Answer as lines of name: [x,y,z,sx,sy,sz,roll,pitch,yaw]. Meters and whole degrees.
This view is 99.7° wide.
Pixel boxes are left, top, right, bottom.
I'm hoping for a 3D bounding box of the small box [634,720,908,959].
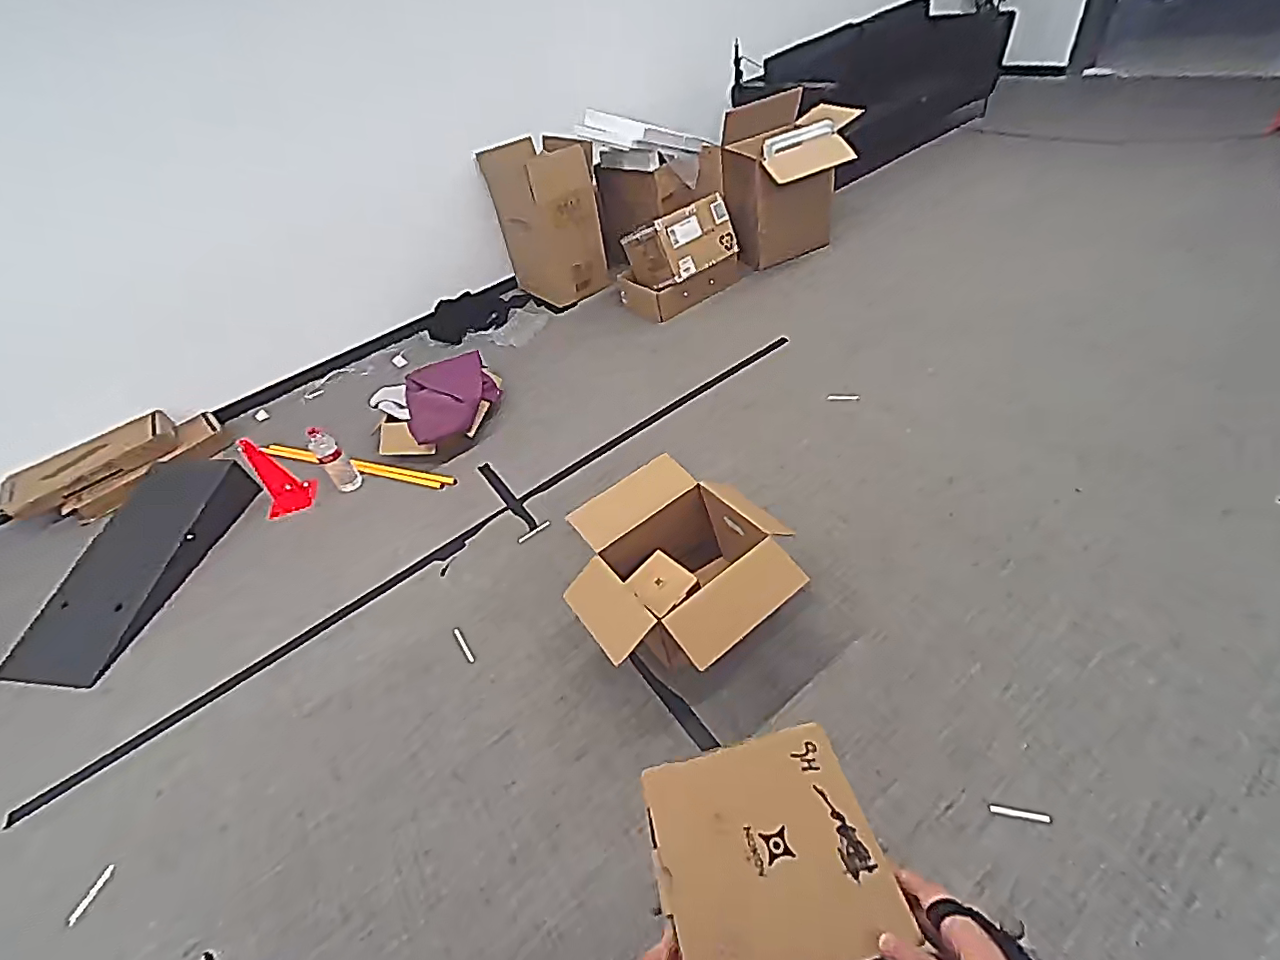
small box: [0.104,0.355,0.495,0.179,0.176,0.168,-13,44,-6]
